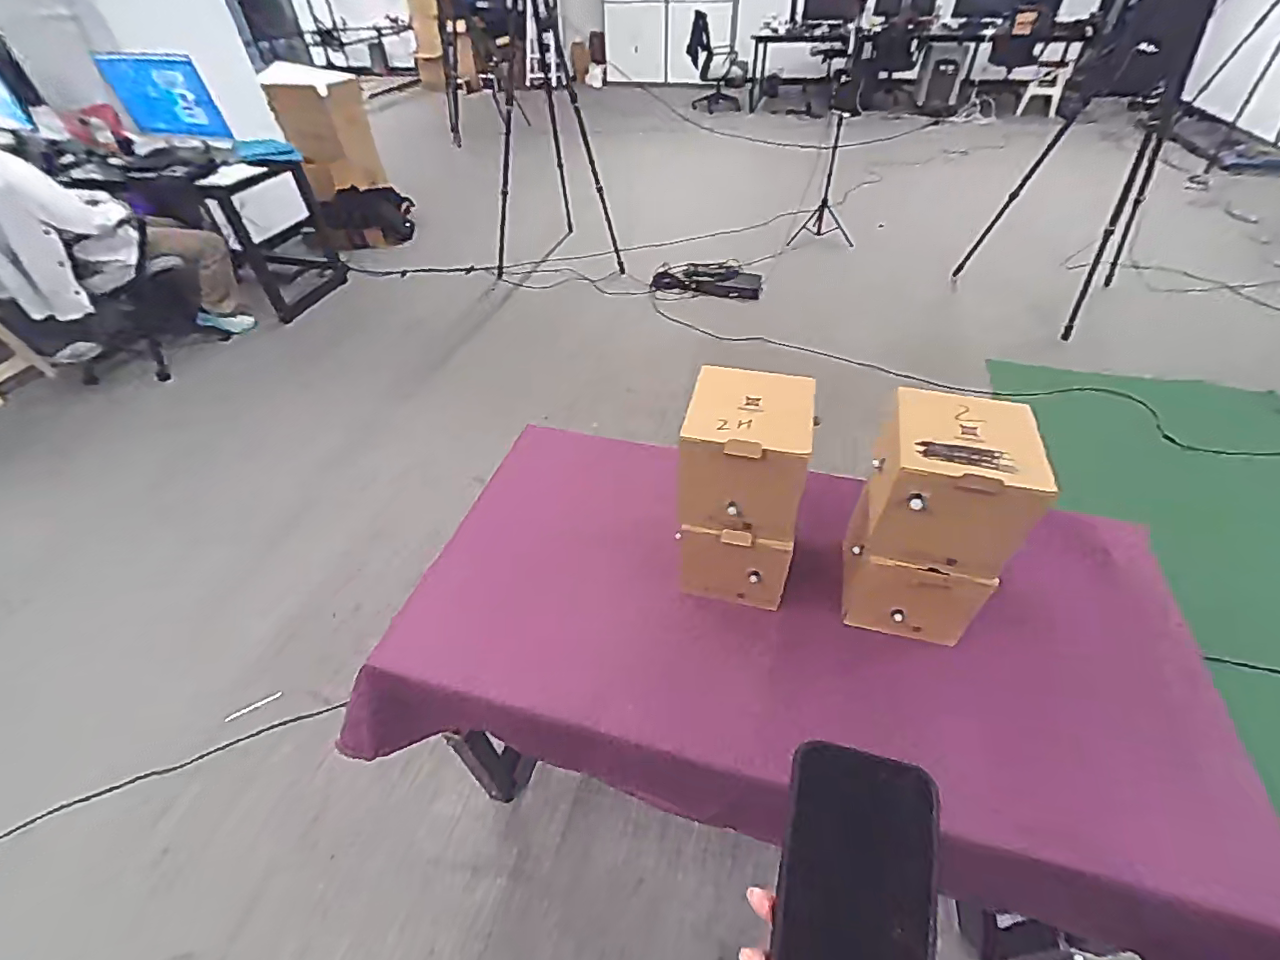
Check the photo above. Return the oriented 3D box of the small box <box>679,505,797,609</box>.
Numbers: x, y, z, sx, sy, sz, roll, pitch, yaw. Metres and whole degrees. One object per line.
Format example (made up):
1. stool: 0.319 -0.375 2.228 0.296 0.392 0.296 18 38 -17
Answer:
1. small box: 0.163 0.087 0.894 0.168 0.176 0.179 10 45 12

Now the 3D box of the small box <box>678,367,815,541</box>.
1. small box: 0.151 -0.039 0.788 0.168 0.176 0.179 9 46 12

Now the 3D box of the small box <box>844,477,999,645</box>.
1. small box: 0.421 0.125 0.842 0.168 0.176 0.179 10 46 12
